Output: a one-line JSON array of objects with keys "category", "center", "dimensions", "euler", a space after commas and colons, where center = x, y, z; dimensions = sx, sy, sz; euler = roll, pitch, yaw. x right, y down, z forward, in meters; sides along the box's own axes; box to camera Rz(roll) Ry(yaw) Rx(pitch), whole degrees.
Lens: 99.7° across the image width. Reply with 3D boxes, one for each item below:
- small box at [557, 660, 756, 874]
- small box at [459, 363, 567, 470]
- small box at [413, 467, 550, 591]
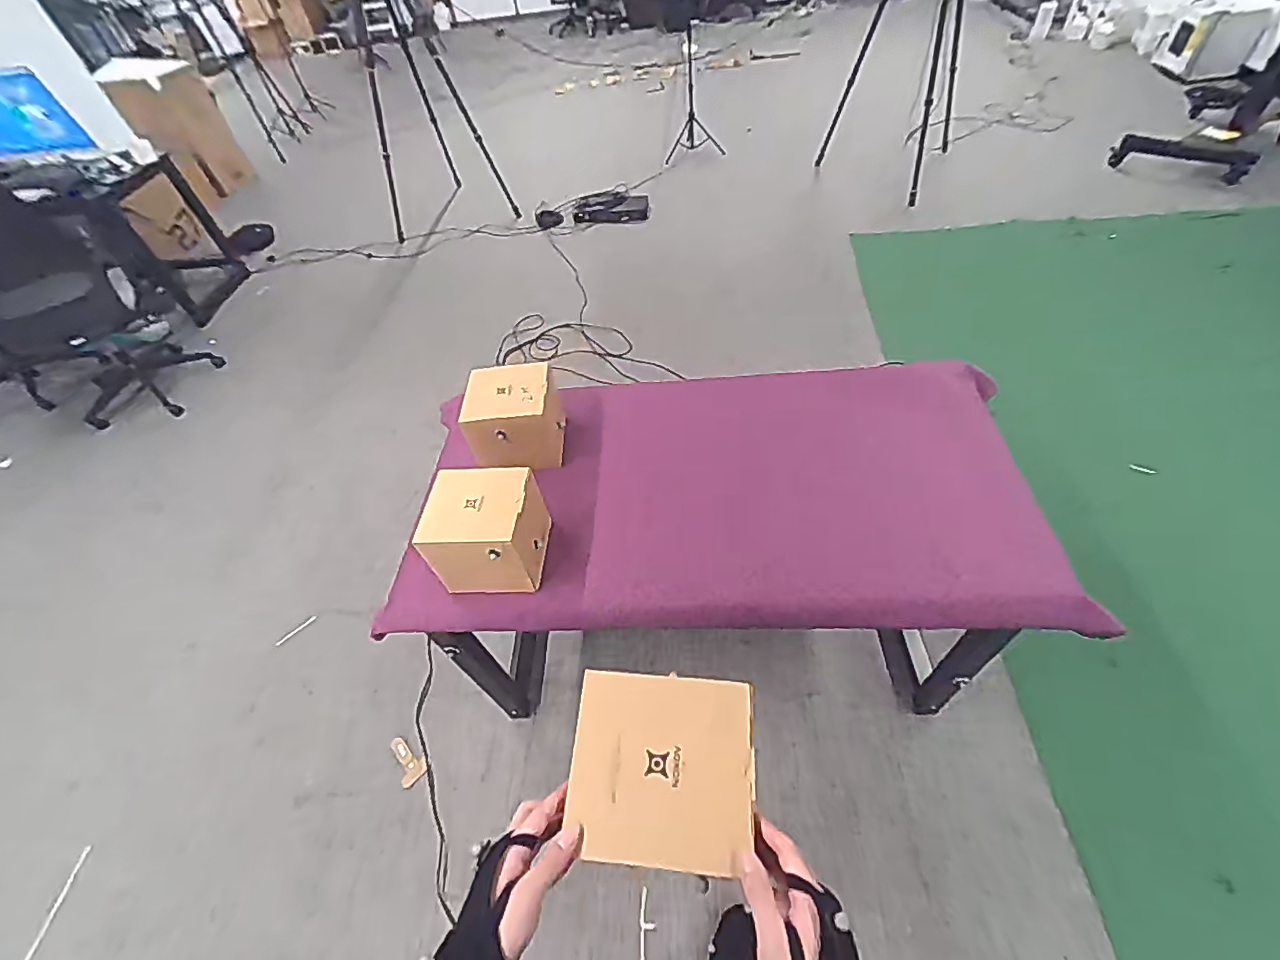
[{"category": "small box", "center": [0.027, 0.306, 0.579], "dimensions": [0.179, 0.176, 0.168], "euler": [3, 56, 8]}, {"category": "small box", "center": [-0.267, -0.132, 1.177], "dimensions": [0.179, 0.176, 0.168], "euler": [-4, 51, 4]}, {"category": "small box", "center": [-0.278, 0.093, 0.993], "dimensions": [0.179, 0.176, 0.168], "euler": [-1, 49, 6]}]
